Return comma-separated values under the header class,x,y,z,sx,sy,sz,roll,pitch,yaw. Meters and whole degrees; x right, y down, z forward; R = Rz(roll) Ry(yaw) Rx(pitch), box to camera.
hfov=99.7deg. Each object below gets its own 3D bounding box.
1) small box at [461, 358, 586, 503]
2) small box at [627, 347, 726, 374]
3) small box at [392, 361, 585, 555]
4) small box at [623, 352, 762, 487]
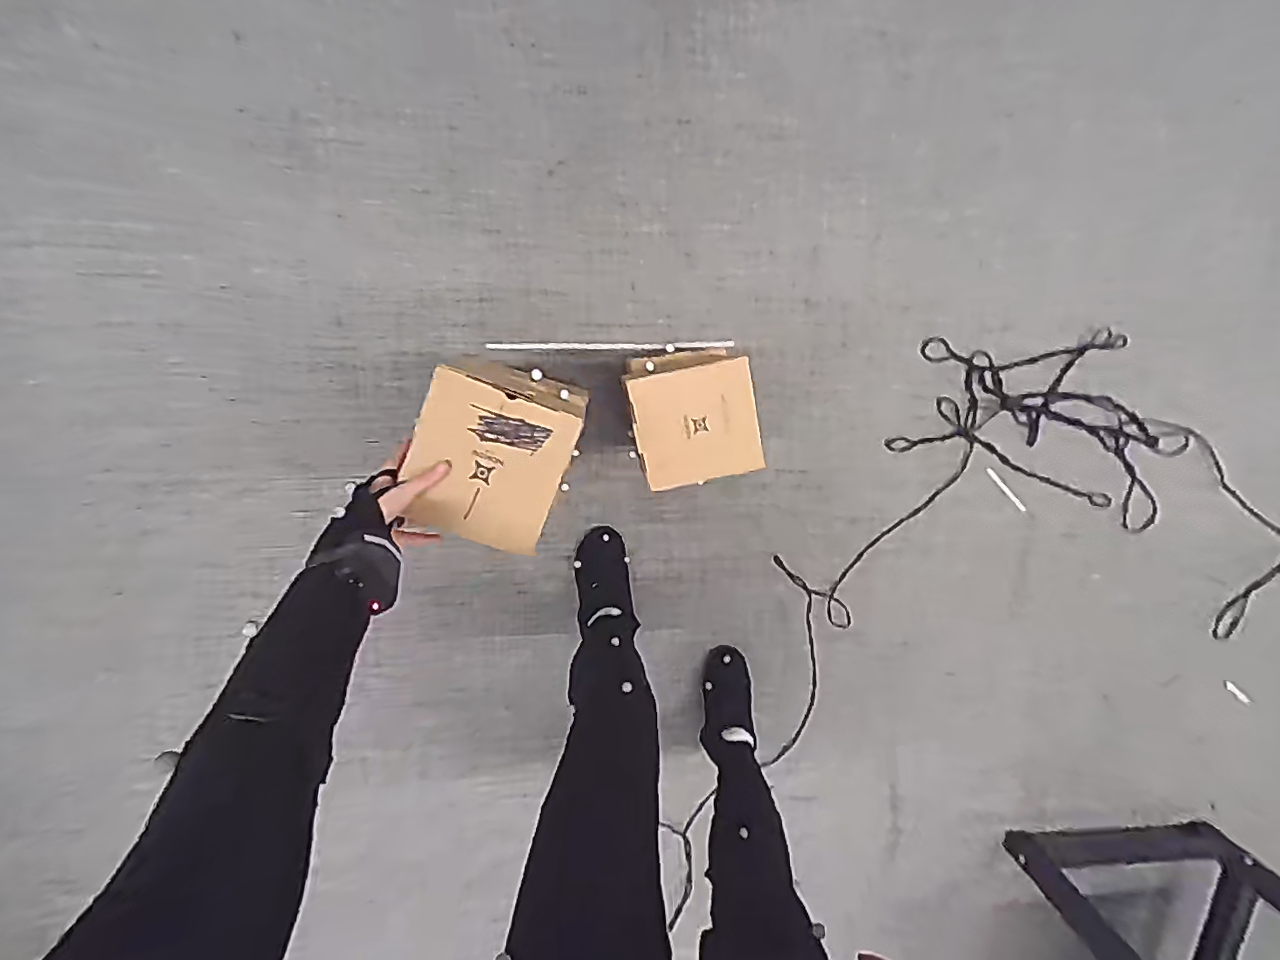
class,x,y,z,sx,sy,sz,roll,pitch,yaw
small box,-0.188,-0.080,0.830,0.179,0.176,0.168,16,100,-9
small box,0.068,-0.148,0.999,0.168,0.176,0.179,-8,103,-2
small box,-0.176,-0.037,0.672,0.168,0.176,0.179,21,101,-9
small box,0.073,-0.100,0.842,0.179,0.176,0.168,-12,104,-1
